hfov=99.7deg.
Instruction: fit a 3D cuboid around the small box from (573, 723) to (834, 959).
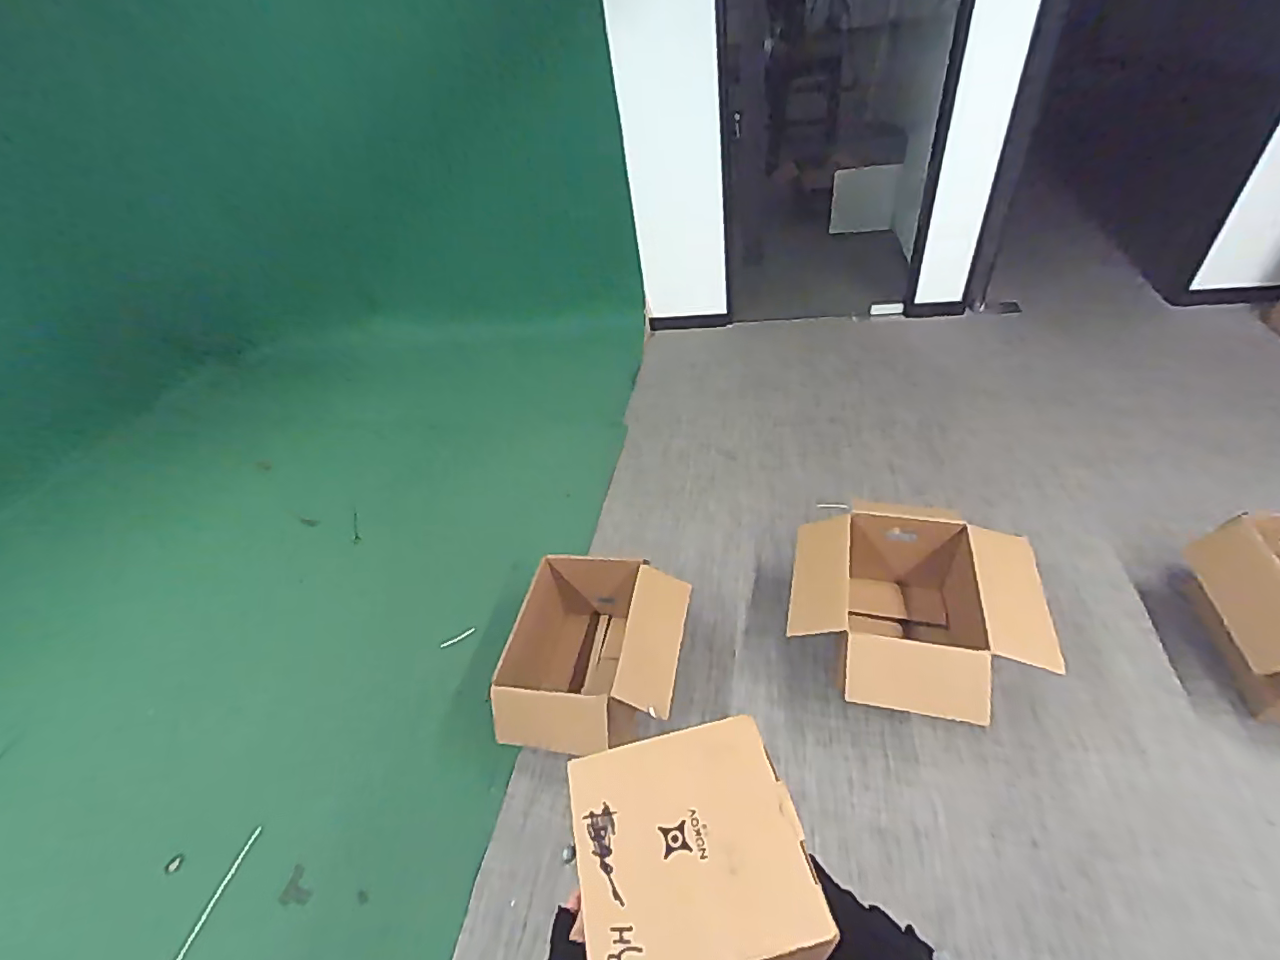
[{"bbox_3d":[0.043,0.349,0.478,0.179,0.176,0.168,-10,38,-6],"label":"small box"}]
